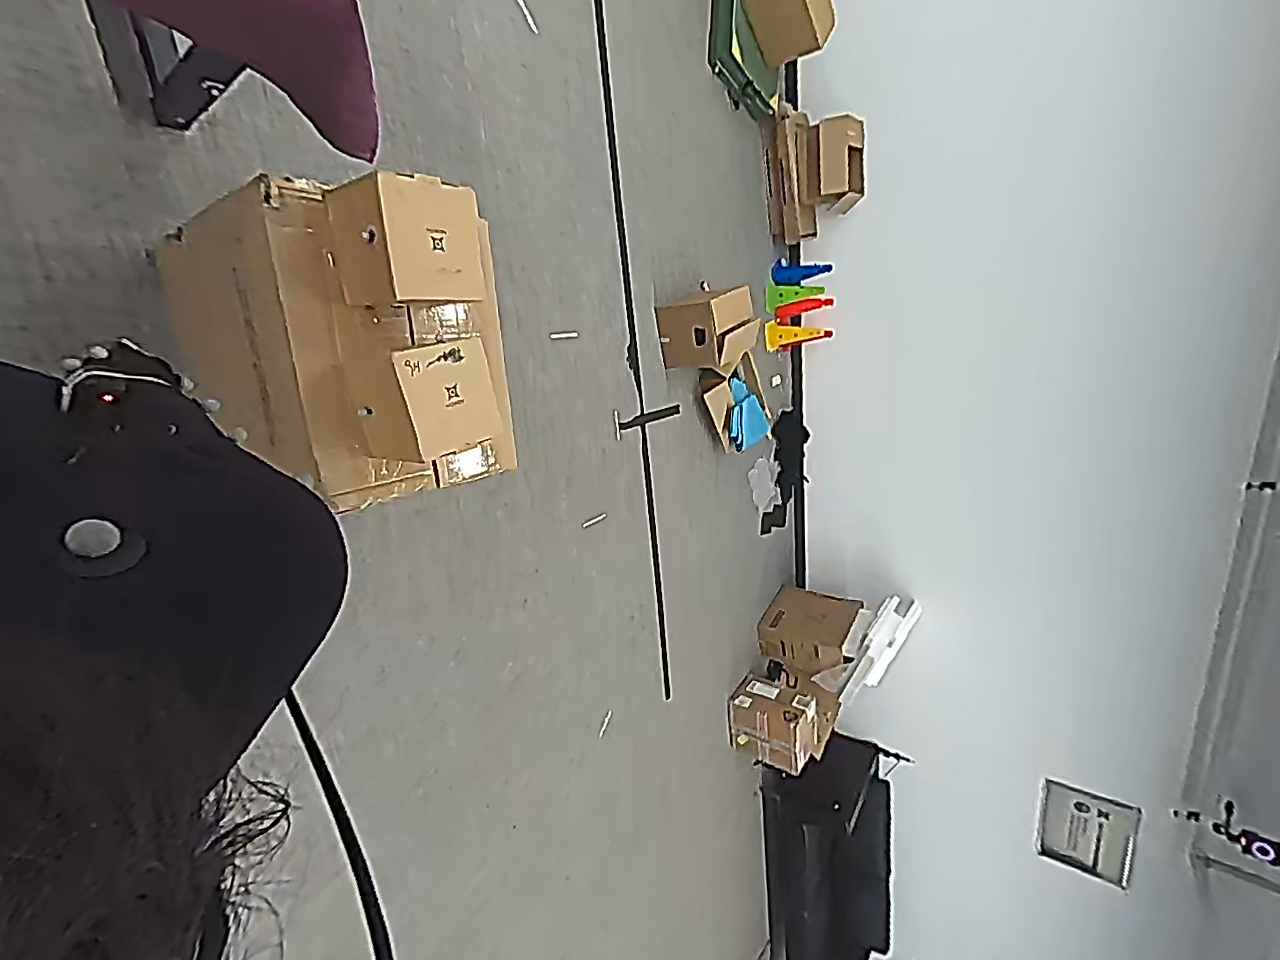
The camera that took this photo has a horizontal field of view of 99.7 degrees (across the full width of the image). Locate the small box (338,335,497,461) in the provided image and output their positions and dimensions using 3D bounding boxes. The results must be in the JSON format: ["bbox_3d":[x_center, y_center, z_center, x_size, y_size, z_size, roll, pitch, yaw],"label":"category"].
[{"bbox_3d":[-0.377,-0.144,0.923,0.168,0.176,0.179,-30,118,-47],"label":"small box"}]
